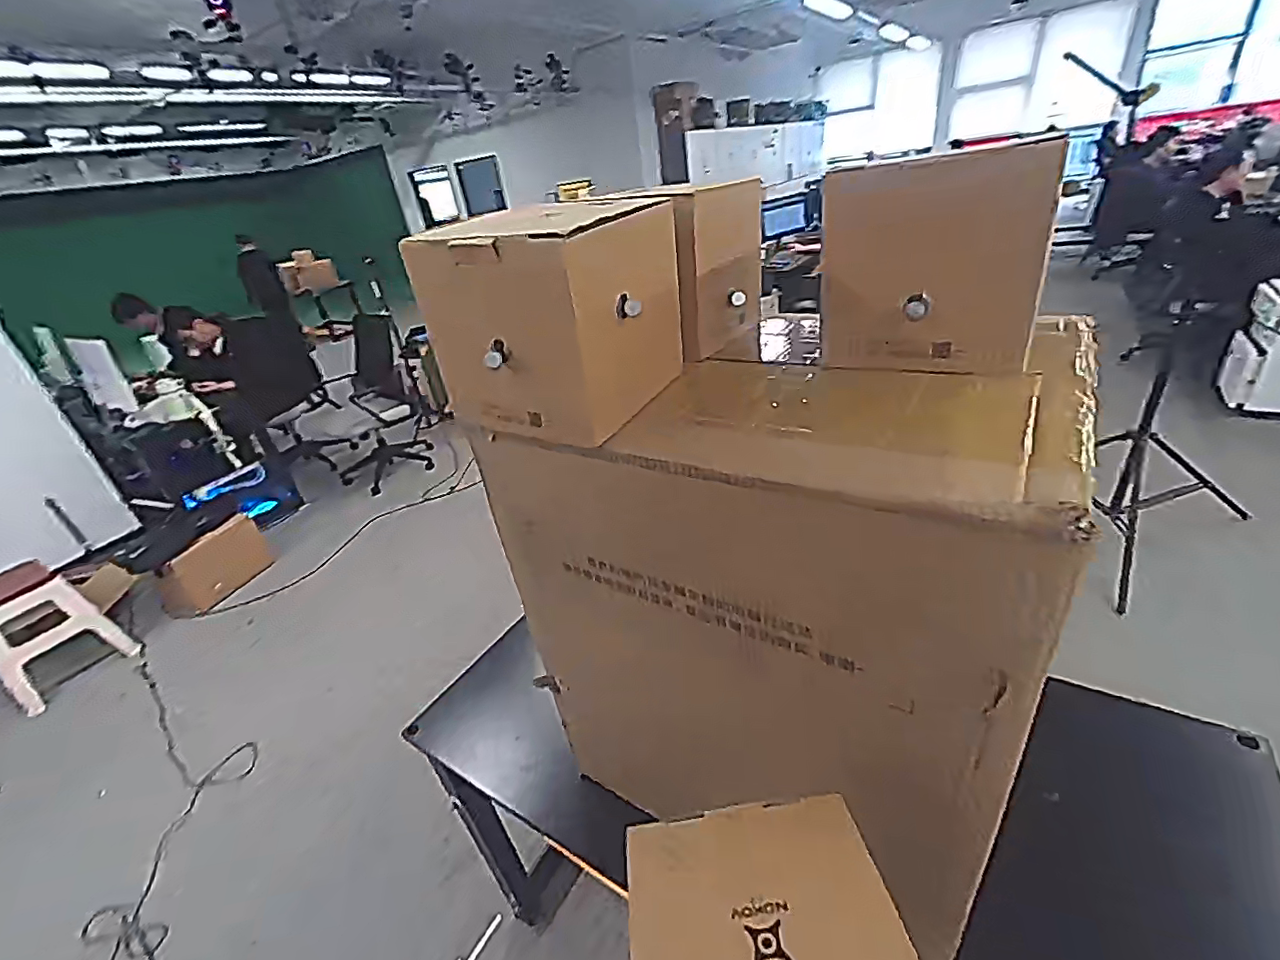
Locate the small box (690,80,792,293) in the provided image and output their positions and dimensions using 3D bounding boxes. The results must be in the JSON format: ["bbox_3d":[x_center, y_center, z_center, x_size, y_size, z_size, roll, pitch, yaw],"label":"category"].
[{"bbox_3d":[0.044,-0.297,0.566,0.179,0.176,0.168,14,36,31],"label":"small box"}]

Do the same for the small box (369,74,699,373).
[{"bbox_3d":[-0.059,-0.195,0.420,0.168,0.176,0.179,12,39,26],"label":"small box"}]

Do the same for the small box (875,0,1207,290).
[{"bbox_3d":[0.290,-0.252,0.424,0.168,0.176,0.179,10,33,31],"label":"small box"}]

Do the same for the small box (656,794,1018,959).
[{"bbox_3d":[0.104,0.308,0.278,0.168,0.176,0.179,-9,19,-1],"label":"small box"}]
